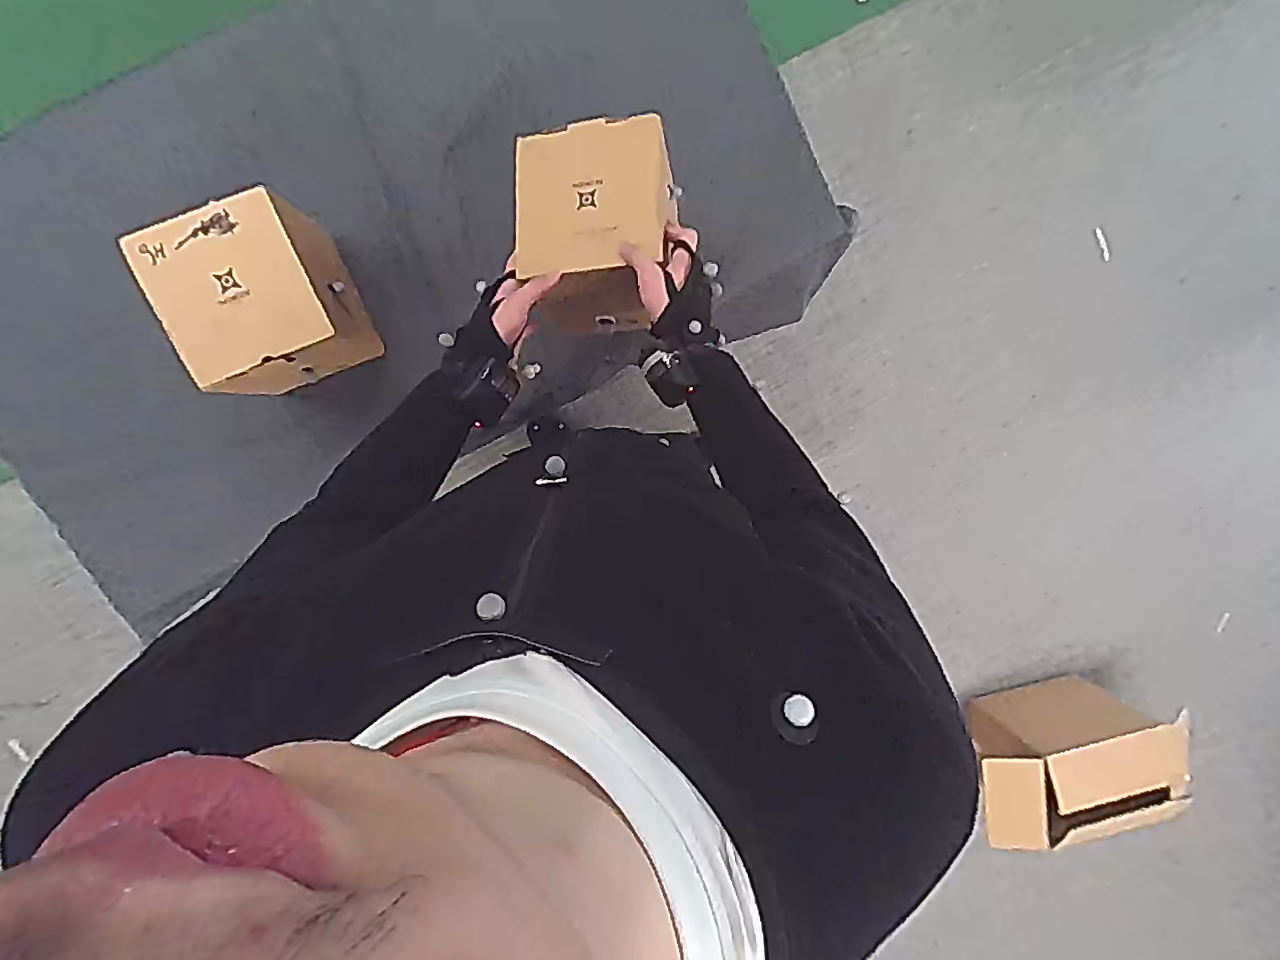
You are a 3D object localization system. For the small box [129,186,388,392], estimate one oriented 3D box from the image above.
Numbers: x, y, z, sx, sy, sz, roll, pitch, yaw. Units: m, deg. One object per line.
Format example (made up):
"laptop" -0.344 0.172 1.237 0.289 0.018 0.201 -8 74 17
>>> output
"small box" -0.454 -0.224 0.680 0.168 0.176 0.179 -26 99 -1

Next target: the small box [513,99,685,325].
"small box" -0.038 -0.304 0.648 0.168 0.176 0.179 0 84 12
